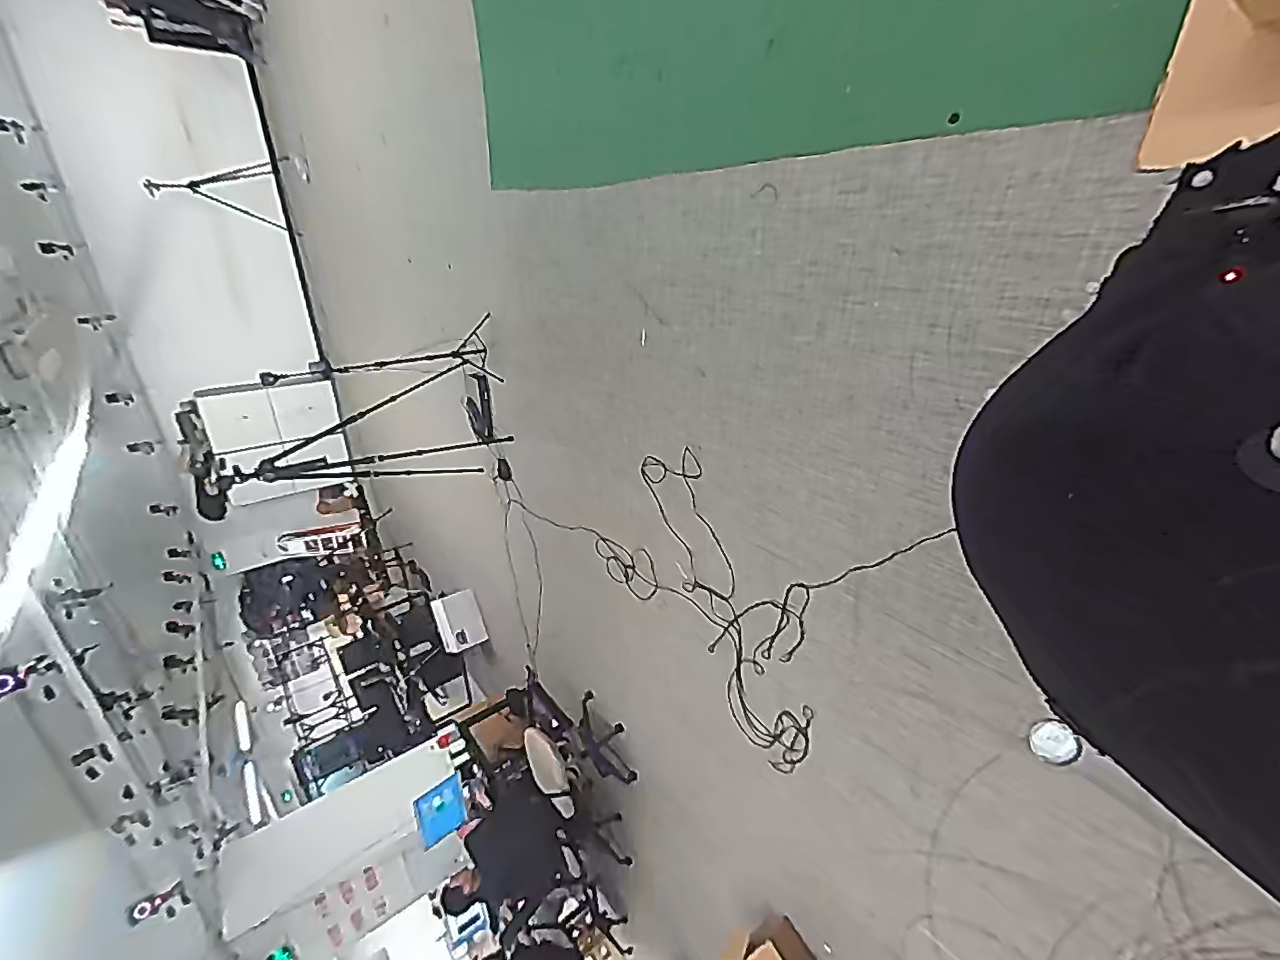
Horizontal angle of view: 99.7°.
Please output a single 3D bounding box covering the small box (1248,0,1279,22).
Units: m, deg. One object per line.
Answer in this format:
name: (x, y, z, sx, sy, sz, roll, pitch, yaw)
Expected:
small box: (0.996, -0.784, 0.753, 0.168, 0.176, 0.179, 29, 128, 47)
